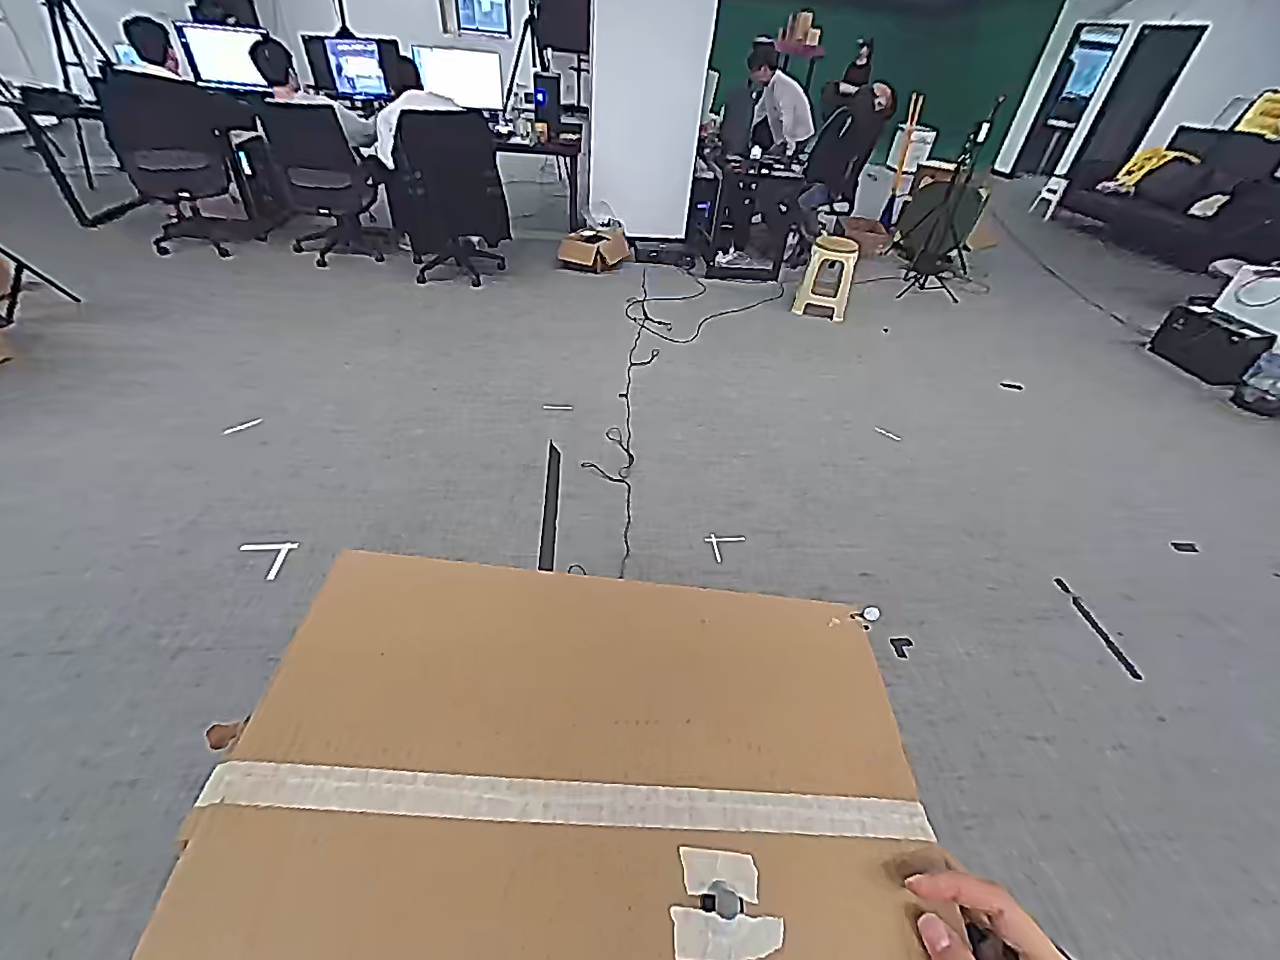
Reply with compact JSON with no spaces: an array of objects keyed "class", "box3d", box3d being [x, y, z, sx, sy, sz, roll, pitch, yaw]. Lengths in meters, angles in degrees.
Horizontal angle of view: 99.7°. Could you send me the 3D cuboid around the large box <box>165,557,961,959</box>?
[{"class":"large box","box3d":[-0.048,0.293,0.424,0.408,0.320,0.320,8,44,-7]}]
